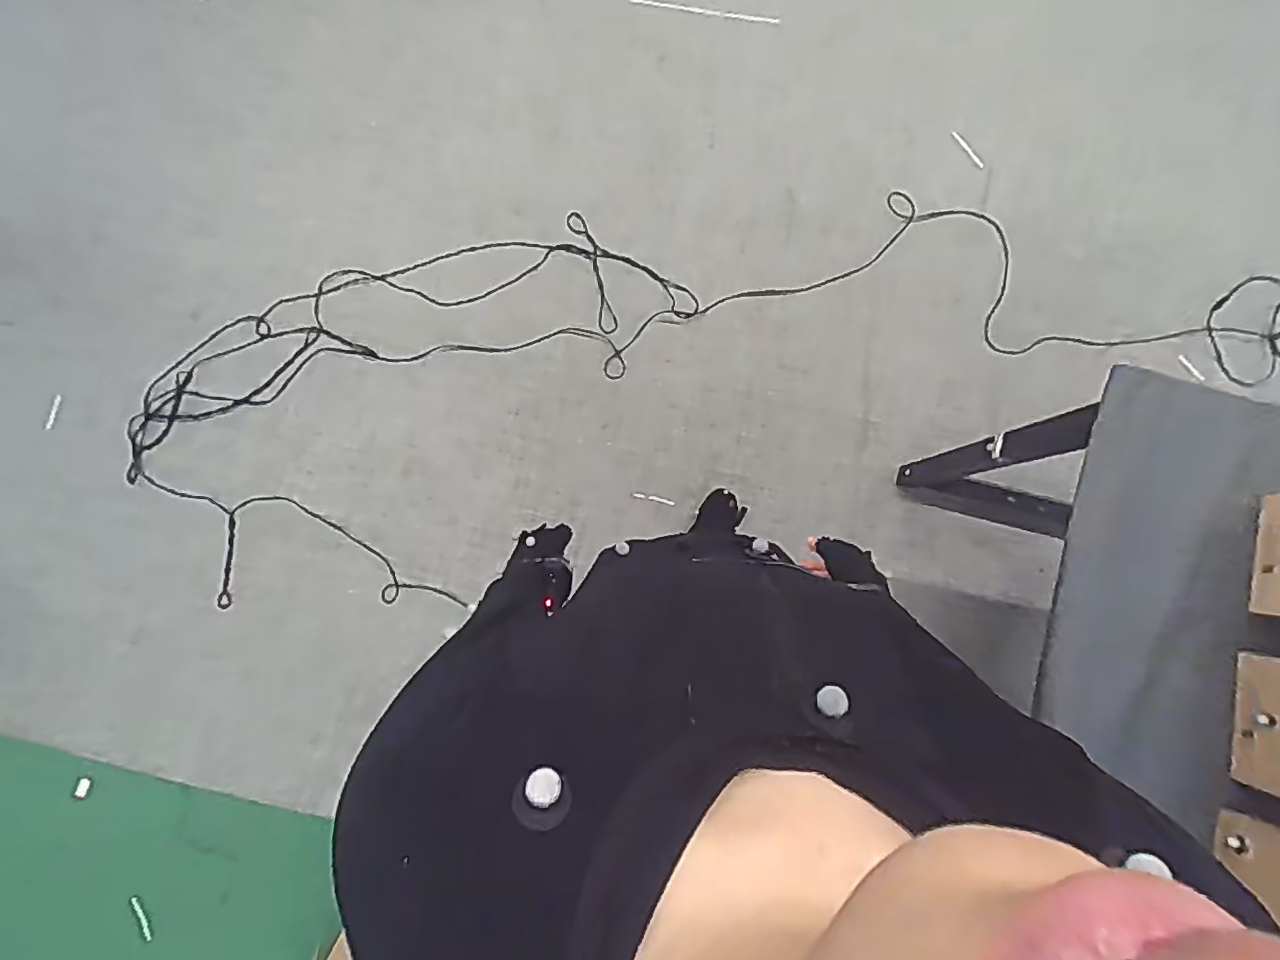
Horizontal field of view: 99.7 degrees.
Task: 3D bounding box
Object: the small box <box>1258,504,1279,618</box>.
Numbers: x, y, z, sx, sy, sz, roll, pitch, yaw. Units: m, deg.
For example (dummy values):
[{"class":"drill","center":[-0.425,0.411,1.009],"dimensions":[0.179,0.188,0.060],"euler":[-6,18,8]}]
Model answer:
[{"class":"small box","center":[0.930,0.112,0.648],"dimensions":[0.179,0.176,0.168],"euler":[13,84,3]}]
